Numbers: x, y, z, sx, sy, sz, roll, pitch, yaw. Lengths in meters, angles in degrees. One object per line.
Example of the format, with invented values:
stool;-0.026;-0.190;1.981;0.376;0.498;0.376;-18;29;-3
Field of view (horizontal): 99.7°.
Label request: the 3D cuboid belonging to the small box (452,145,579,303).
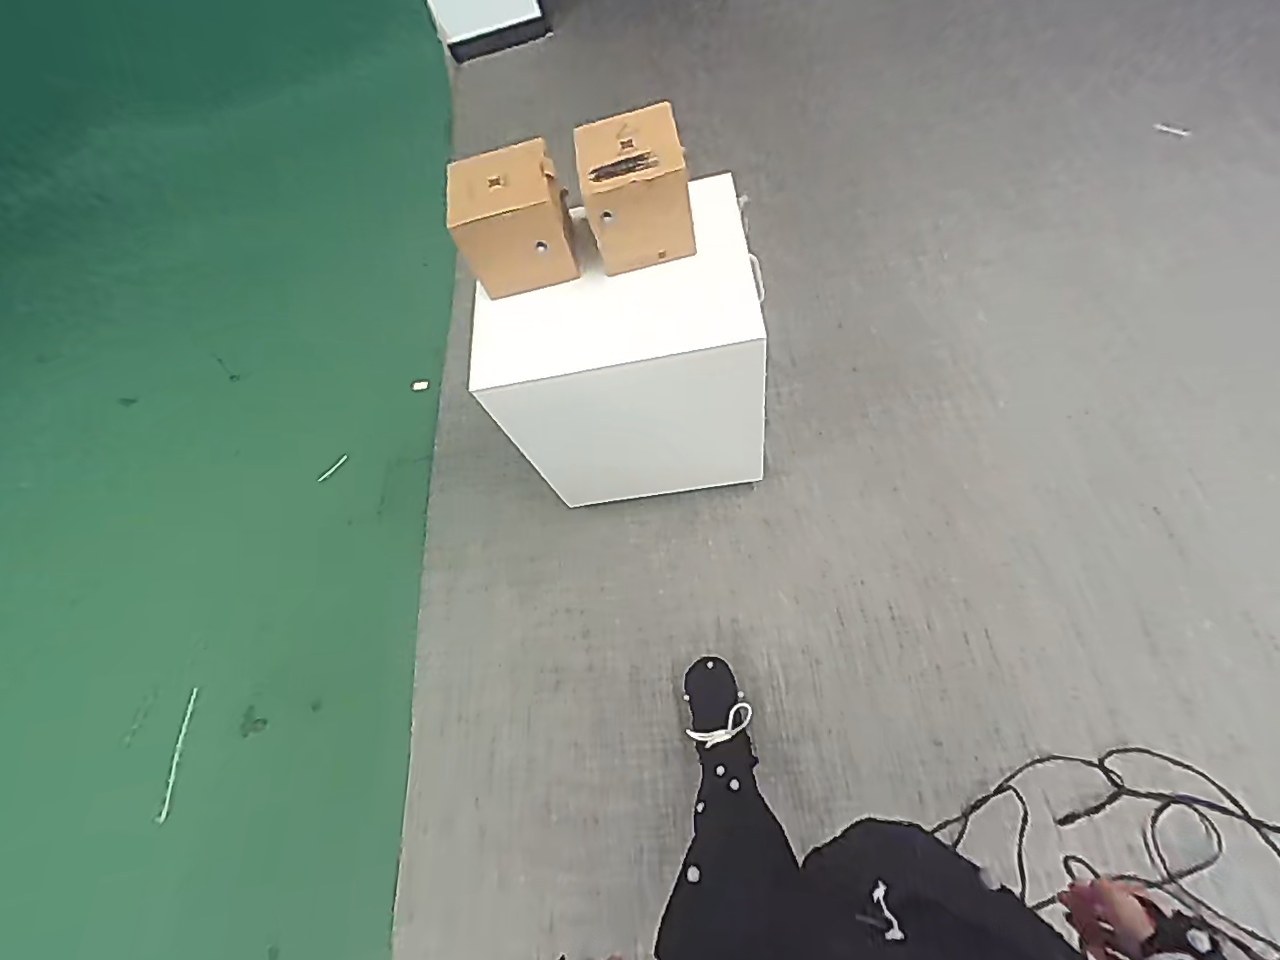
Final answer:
small box;-0.212;-0.445;0.960;0.179;0.176;0.168;-12;62;6
